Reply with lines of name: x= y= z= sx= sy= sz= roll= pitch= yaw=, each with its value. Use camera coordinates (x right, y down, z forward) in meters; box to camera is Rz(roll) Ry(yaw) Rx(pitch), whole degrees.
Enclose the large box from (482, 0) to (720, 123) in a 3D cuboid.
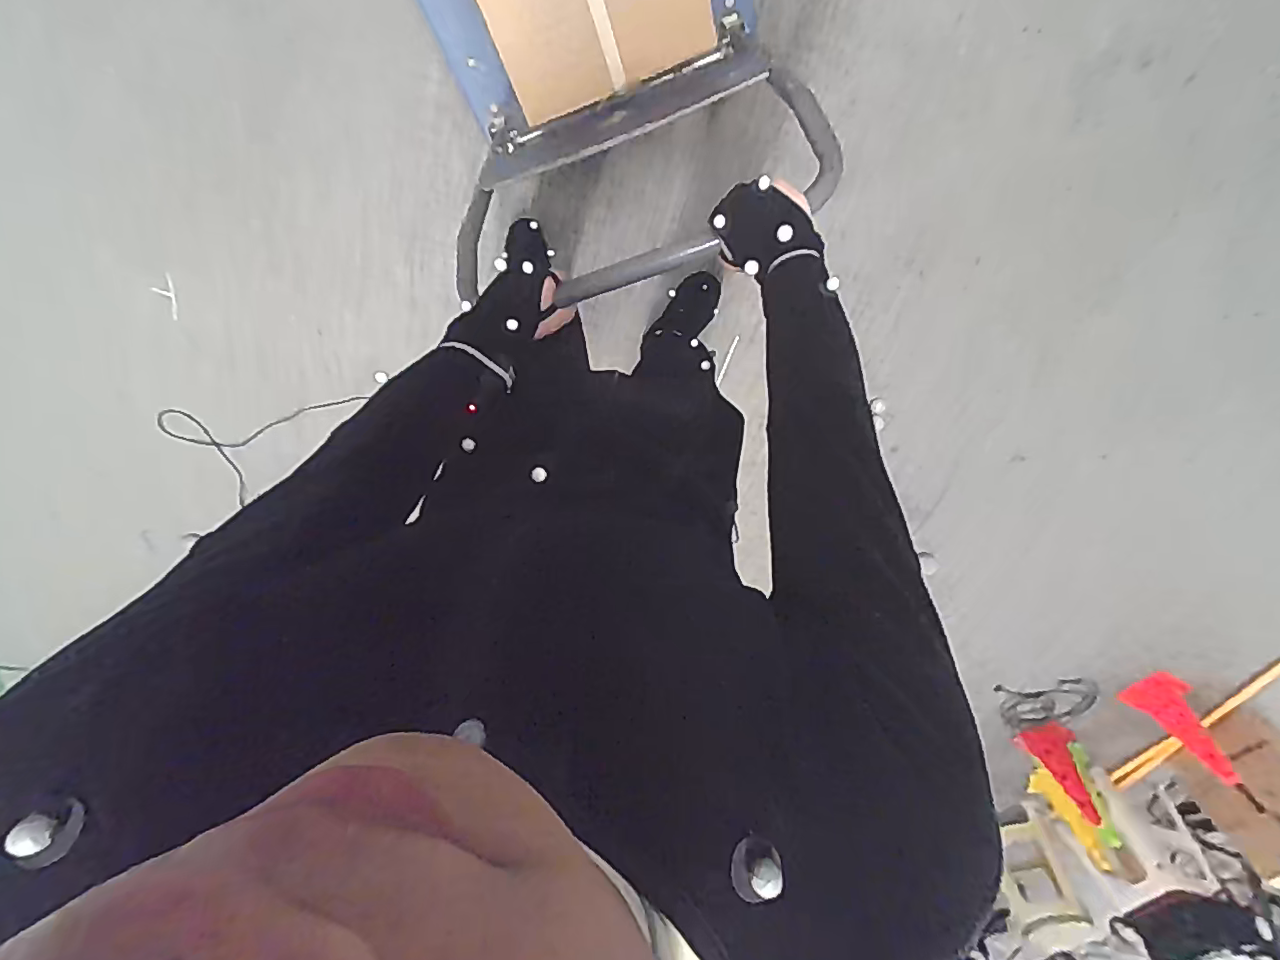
large box: x=-0.094 y=-0.843 z=0.811 sx=0.320 sy=0.320 sz=0.408 roll=-16 pitch=132 yaw=11
